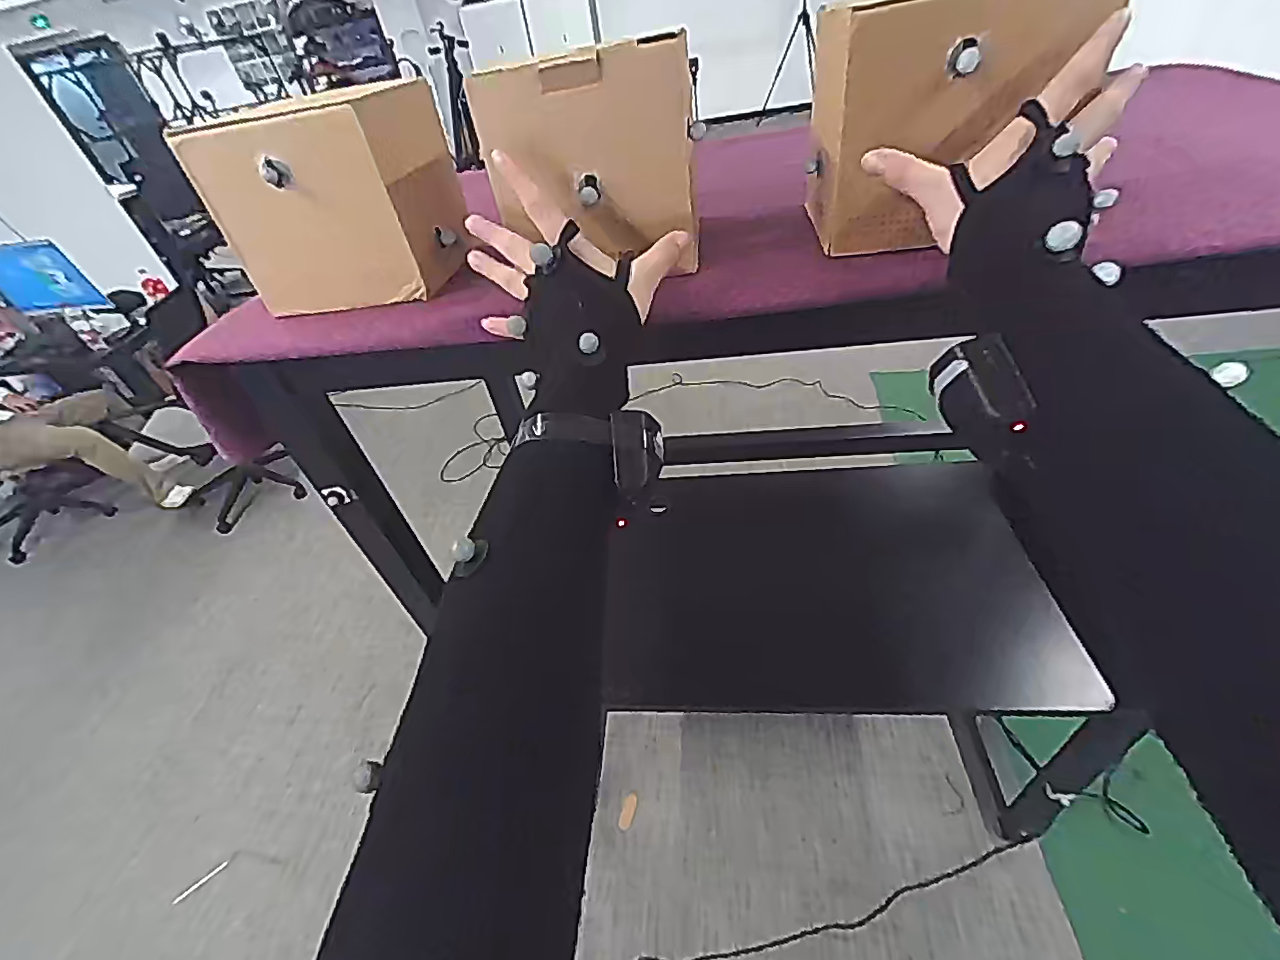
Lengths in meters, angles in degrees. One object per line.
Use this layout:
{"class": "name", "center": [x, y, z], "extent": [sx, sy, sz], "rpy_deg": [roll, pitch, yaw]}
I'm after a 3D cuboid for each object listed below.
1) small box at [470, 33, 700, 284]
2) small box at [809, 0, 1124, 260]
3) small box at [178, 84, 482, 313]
{"class": "small box", "center": [-0.031, -0.296, 0.512], "extent": [0.168, 0.176, 0.179], "rpy_deg": [-3, 40, 9]}
{"class": "small box", "center": [0.247, -0.308, 0.466], "extent": [0.179, 0.176, 0.168], "rpy_deg": [-3, 40, 11]}
{"class": "small box", "center": [-0.289, -0.283, 0.553], "extent": [0.179, 0.176, 0.168], "rpy_deg": [-3, 41, 8]}
